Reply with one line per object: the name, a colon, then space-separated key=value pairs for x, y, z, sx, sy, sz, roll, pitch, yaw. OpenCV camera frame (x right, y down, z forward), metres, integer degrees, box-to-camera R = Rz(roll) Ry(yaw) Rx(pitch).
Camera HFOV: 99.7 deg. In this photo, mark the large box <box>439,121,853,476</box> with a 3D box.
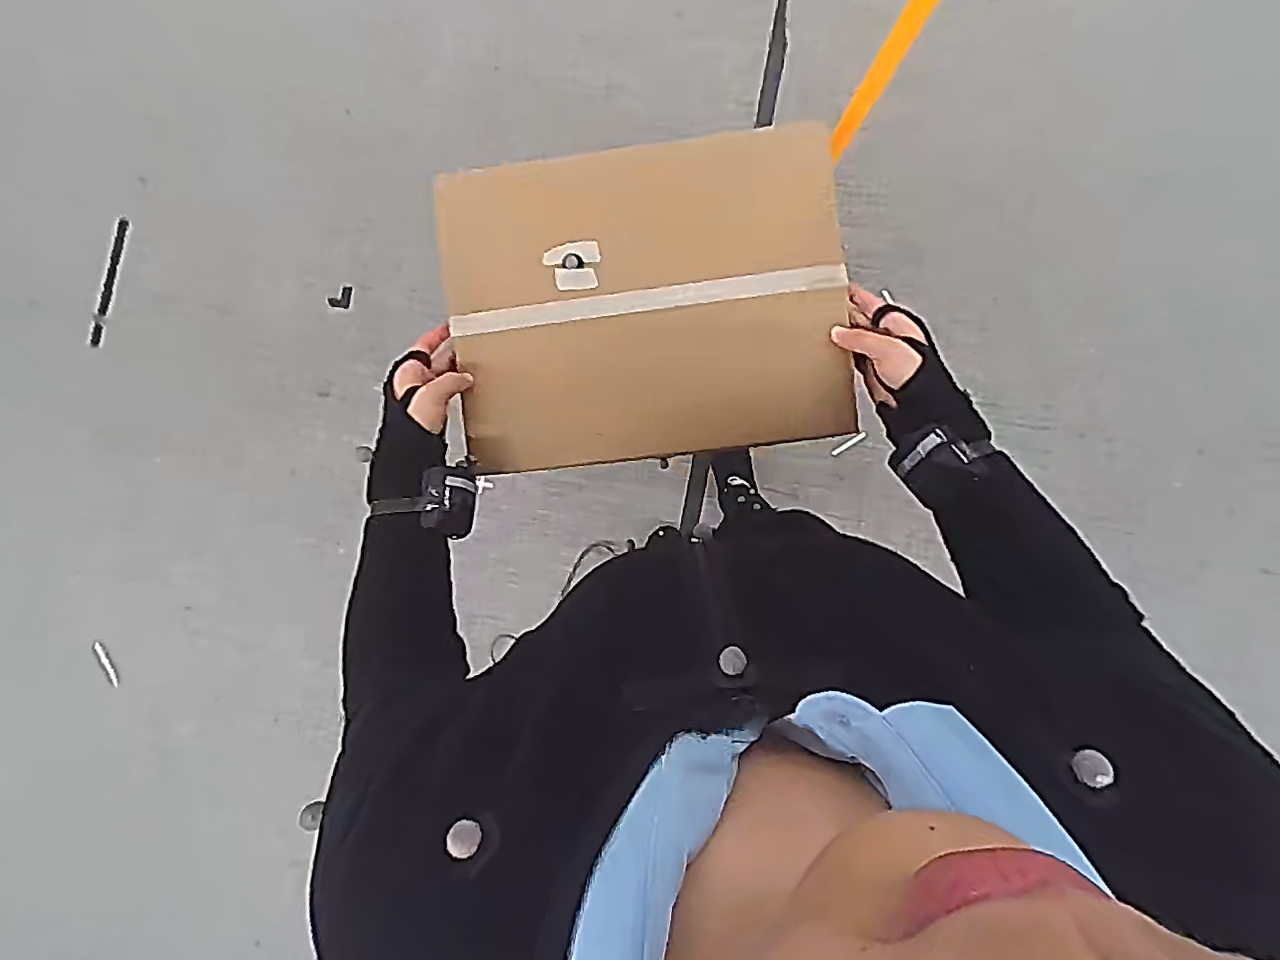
large box: x=0.013 y=-0.192 z=0.712 sx=0.408 sy=0.320 sz=0.320 roll=-8 pitch=91 yaw=4
